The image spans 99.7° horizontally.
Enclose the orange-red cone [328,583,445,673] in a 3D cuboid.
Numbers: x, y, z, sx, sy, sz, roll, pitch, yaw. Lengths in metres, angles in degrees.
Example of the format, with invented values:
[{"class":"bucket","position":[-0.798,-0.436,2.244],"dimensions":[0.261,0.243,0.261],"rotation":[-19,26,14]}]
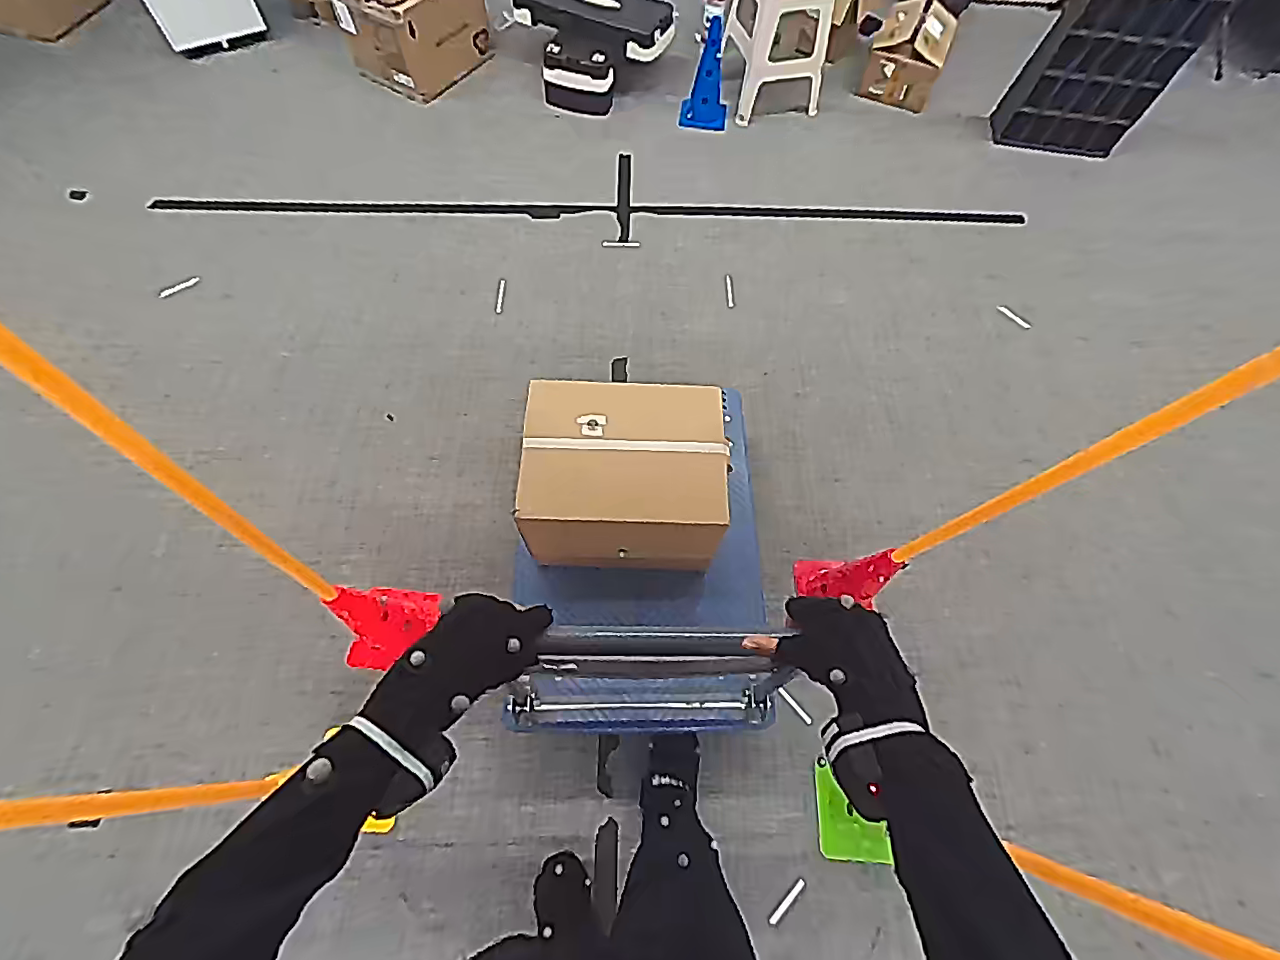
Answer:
[{"class":"orange-red cone","position":[-0.602,0.295,1.214],"dimensions":[0.198,0.360,0.199],"rotation":[8,62,1]}]

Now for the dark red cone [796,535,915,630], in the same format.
[{"class":"dark red cone","position":[0.528,0.219,1.270],"dimensions":[0.201,0.394,0.202],"rotation":[1,64,-3]}]

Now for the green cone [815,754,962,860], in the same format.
[{"class":"green cone","position":[0.509,0.661,1.071],"dimensions":[0.202,0.368,0.200],"rotation":[5,64,-1]}]

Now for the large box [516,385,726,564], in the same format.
[{"class":"large box","position":[-0.036,0.002,1.217],"dimensions":[0.408,0.320,0.320],"rotation":[1,65,-1]}]
